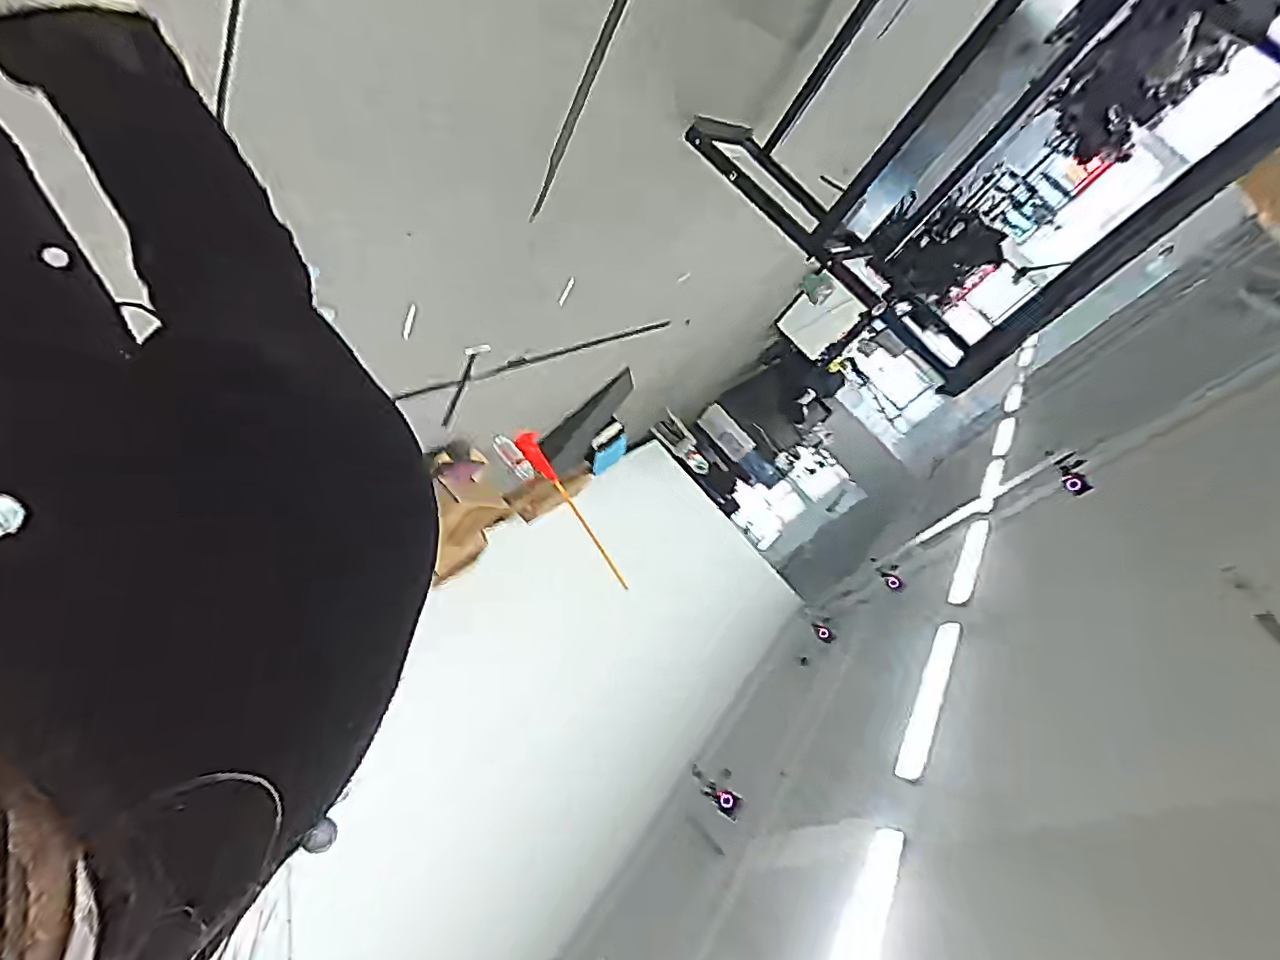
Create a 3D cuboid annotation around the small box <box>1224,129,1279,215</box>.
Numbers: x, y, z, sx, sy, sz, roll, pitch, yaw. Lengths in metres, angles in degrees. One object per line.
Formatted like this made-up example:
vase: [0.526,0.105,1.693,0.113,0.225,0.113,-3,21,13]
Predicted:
small box: [1.710,-0.827,1.423,0.179,0.176,0.168,-34,169,-47]
